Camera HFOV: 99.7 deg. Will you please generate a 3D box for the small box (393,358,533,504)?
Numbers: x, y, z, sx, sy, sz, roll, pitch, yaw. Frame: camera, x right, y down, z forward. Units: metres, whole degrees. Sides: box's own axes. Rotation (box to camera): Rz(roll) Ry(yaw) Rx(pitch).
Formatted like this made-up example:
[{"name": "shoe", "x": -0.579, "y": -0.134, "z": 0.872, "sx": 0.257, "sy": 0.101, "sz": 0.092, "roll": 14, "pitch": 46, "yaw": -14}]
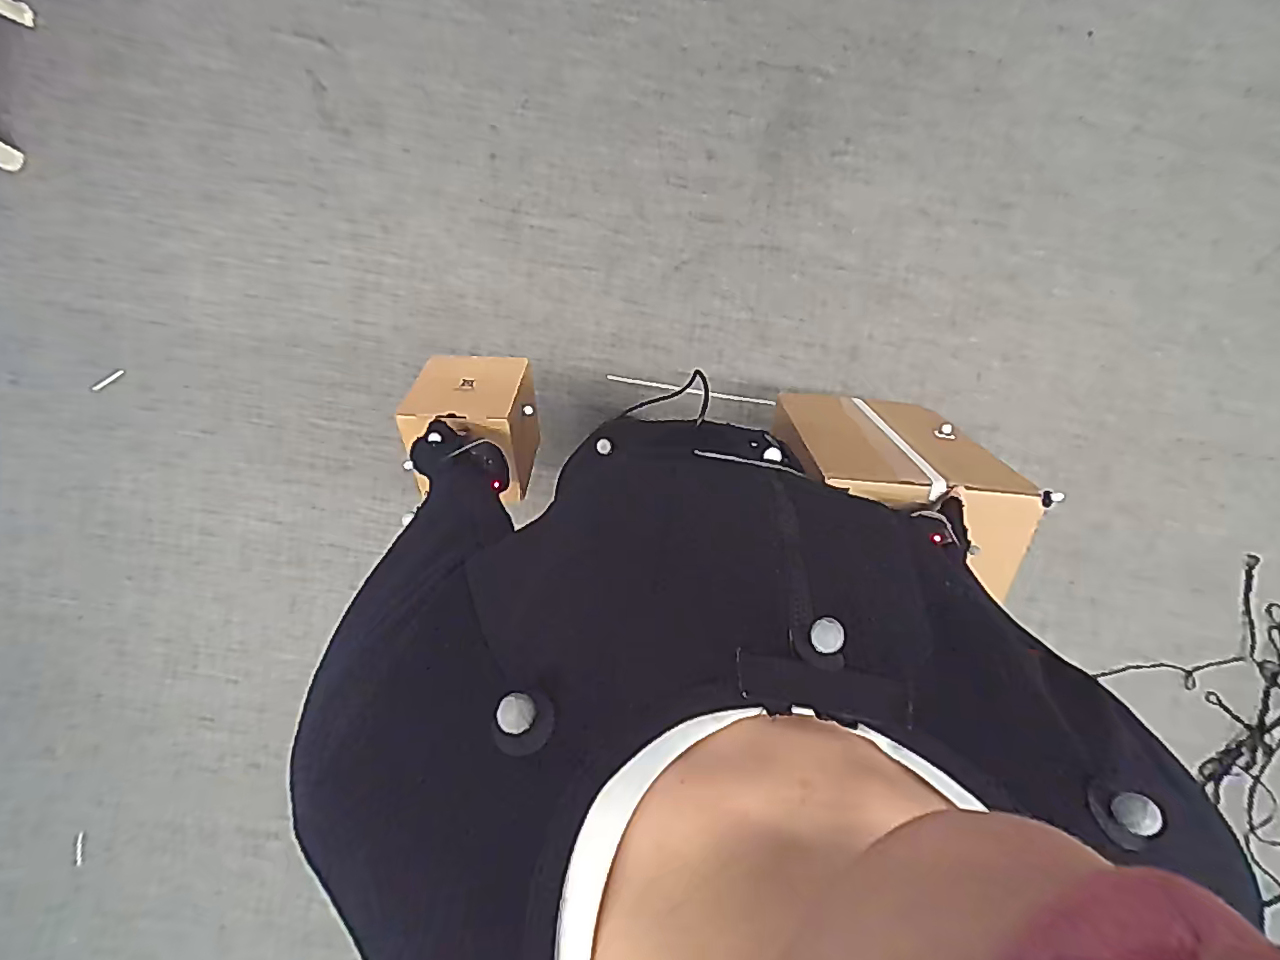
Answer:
[{"name": "small box", "x": -0.276, "y": -0.082, "z": 0.892, "sx": 0.168, "sy": 0.179, "sz": 0.176, "roll": 2, "pitch": 132, "yaw": 0}]
